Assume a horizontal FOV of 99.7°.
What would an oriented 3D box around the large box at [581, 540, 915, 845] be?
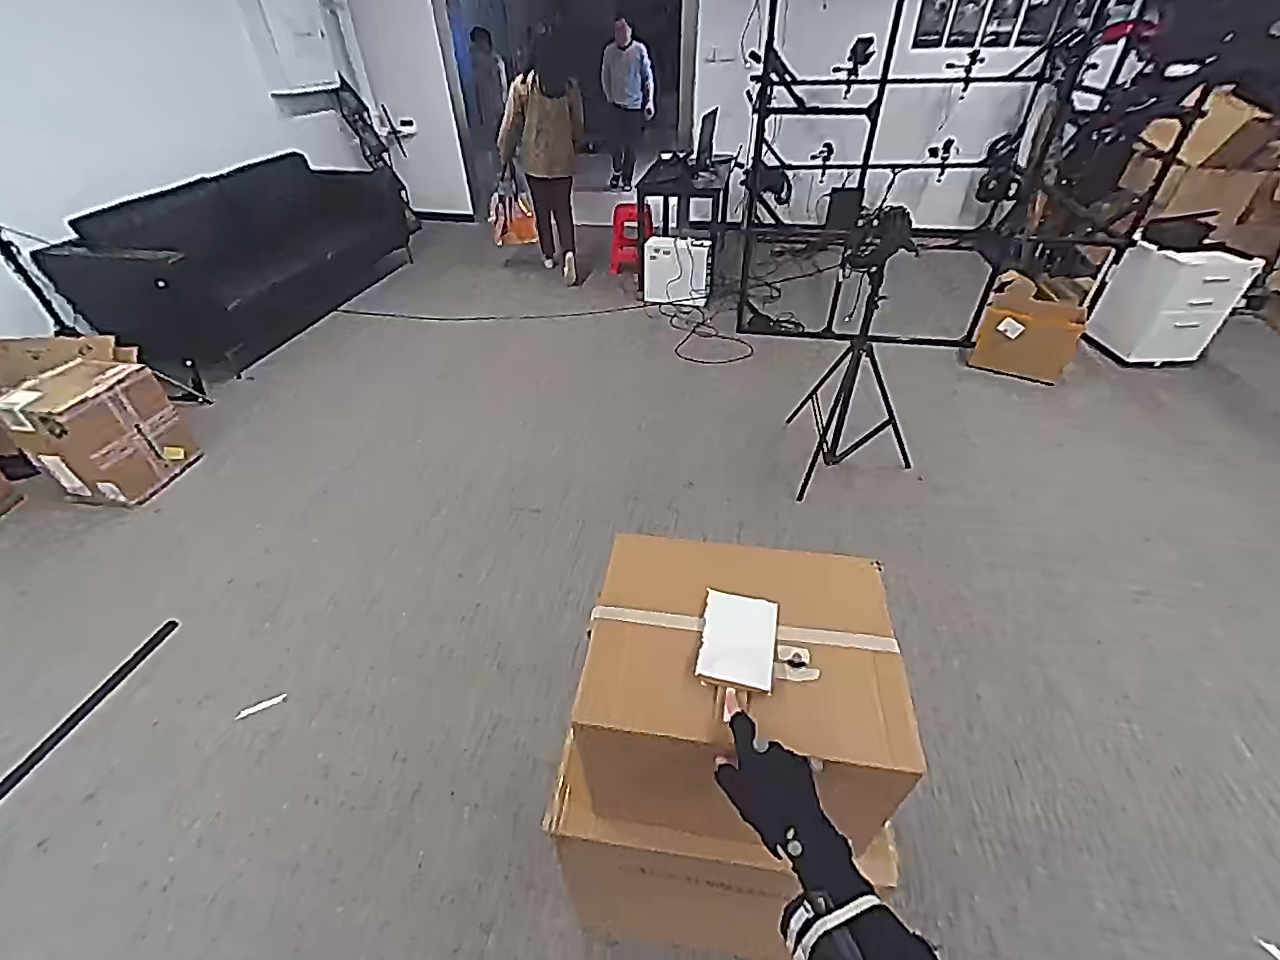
[{"bbox_3d":[0.141,0.323,0.847,0.408,0.320,0.320,5,41,7],"label":"large box"}]
